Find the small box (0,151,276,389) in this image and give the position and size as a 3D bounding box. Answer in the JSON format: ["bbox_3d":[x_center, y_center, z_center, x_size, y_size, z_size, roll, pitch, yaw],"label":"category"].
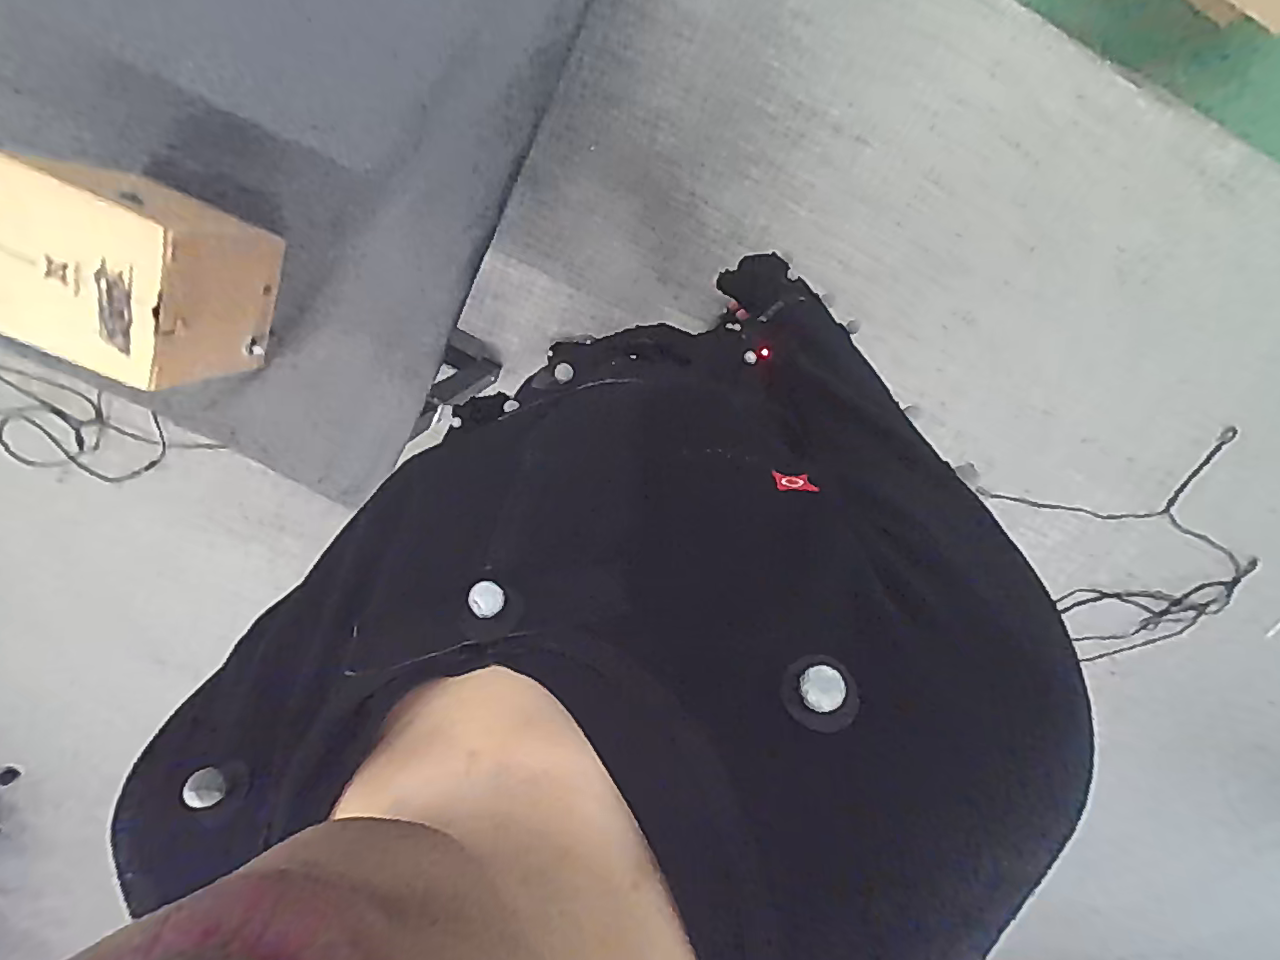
[{"bbox_3d":[-0.533,-0.220,0.576,0.179,0.176,0.168,23,110,-6],"label":"small box"}]
